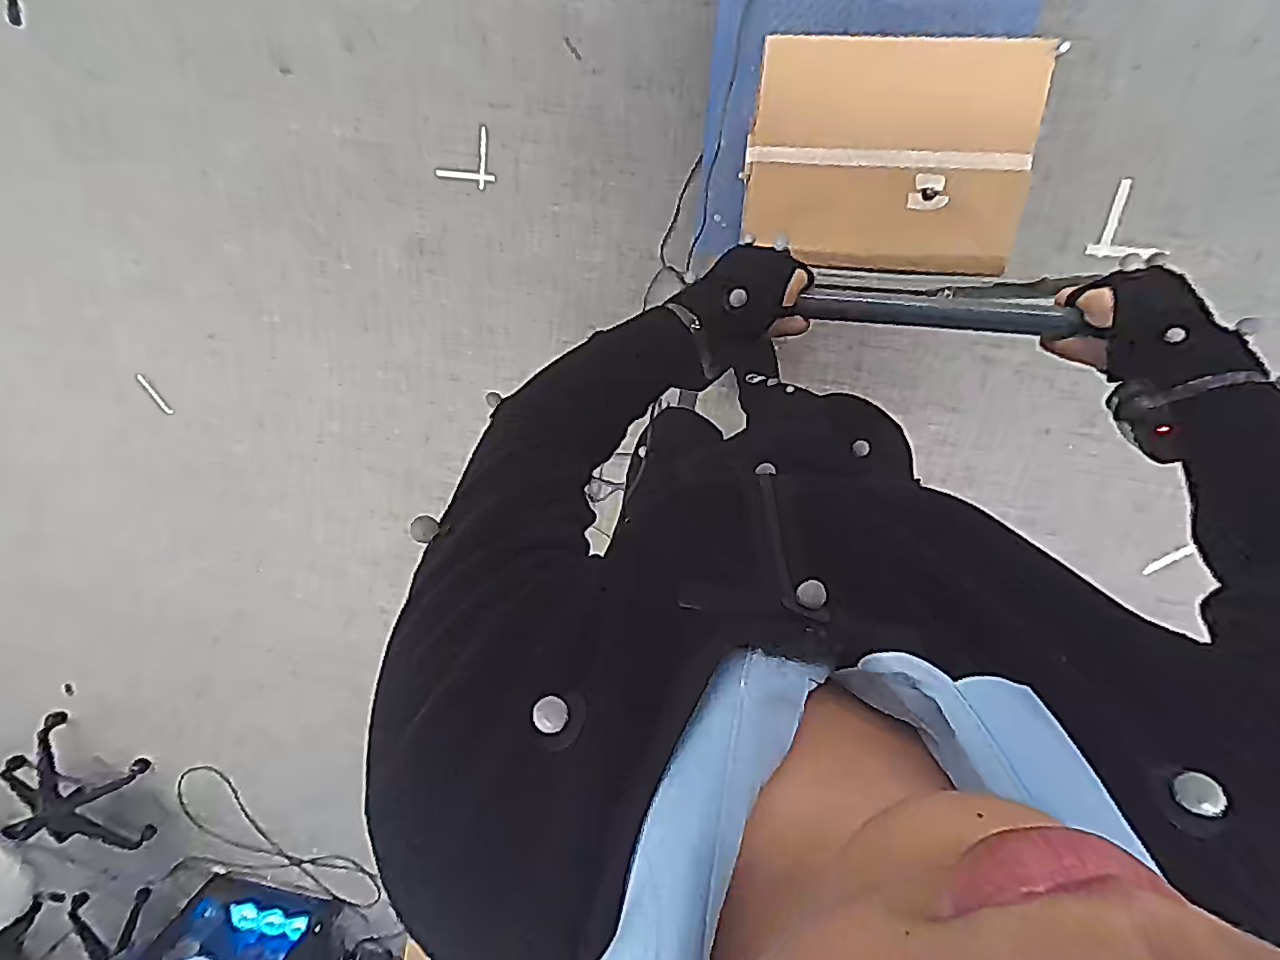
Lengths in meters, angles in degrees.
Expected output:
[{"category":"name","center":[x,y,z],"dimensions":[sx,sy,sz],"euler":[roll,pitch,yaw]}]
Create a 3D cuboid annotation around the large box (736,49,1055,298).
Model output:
[{"category":"large box","center":[0.388,-0.500,0.950],"dimensions":[0.408,0.320,0.320],"euler":[6,107,6]}]
